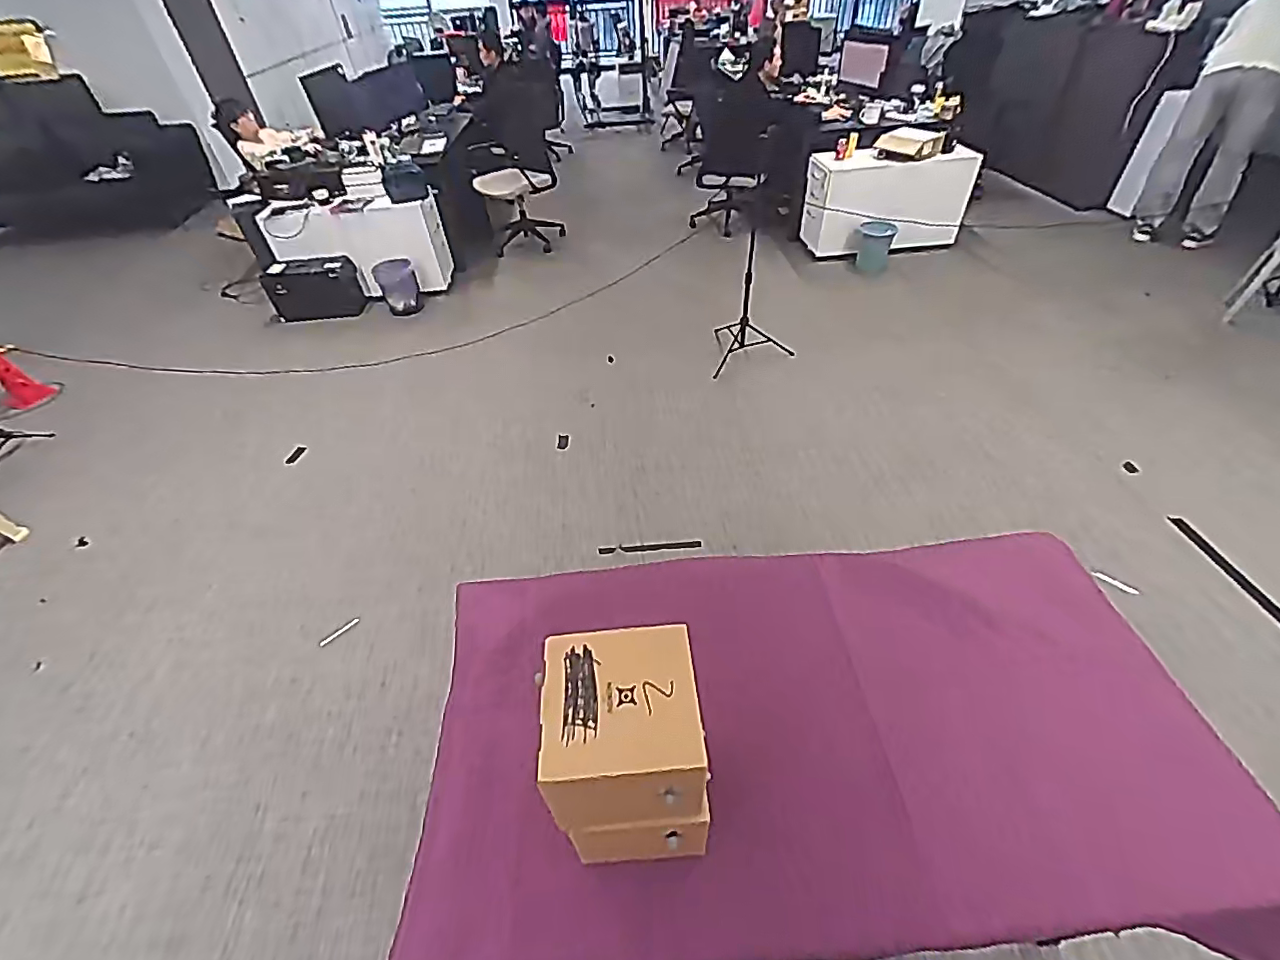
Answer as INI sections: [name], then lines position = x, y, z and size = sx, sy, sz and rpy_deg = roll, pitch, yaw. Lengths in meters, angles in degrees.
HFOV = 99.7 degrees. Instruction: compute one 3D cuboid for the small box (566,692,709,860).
[small box]
position = -0.004, 0.418, 0.763
size = 0.179, 0.176, 0.168
rpy_deg = -4, 44, 0
